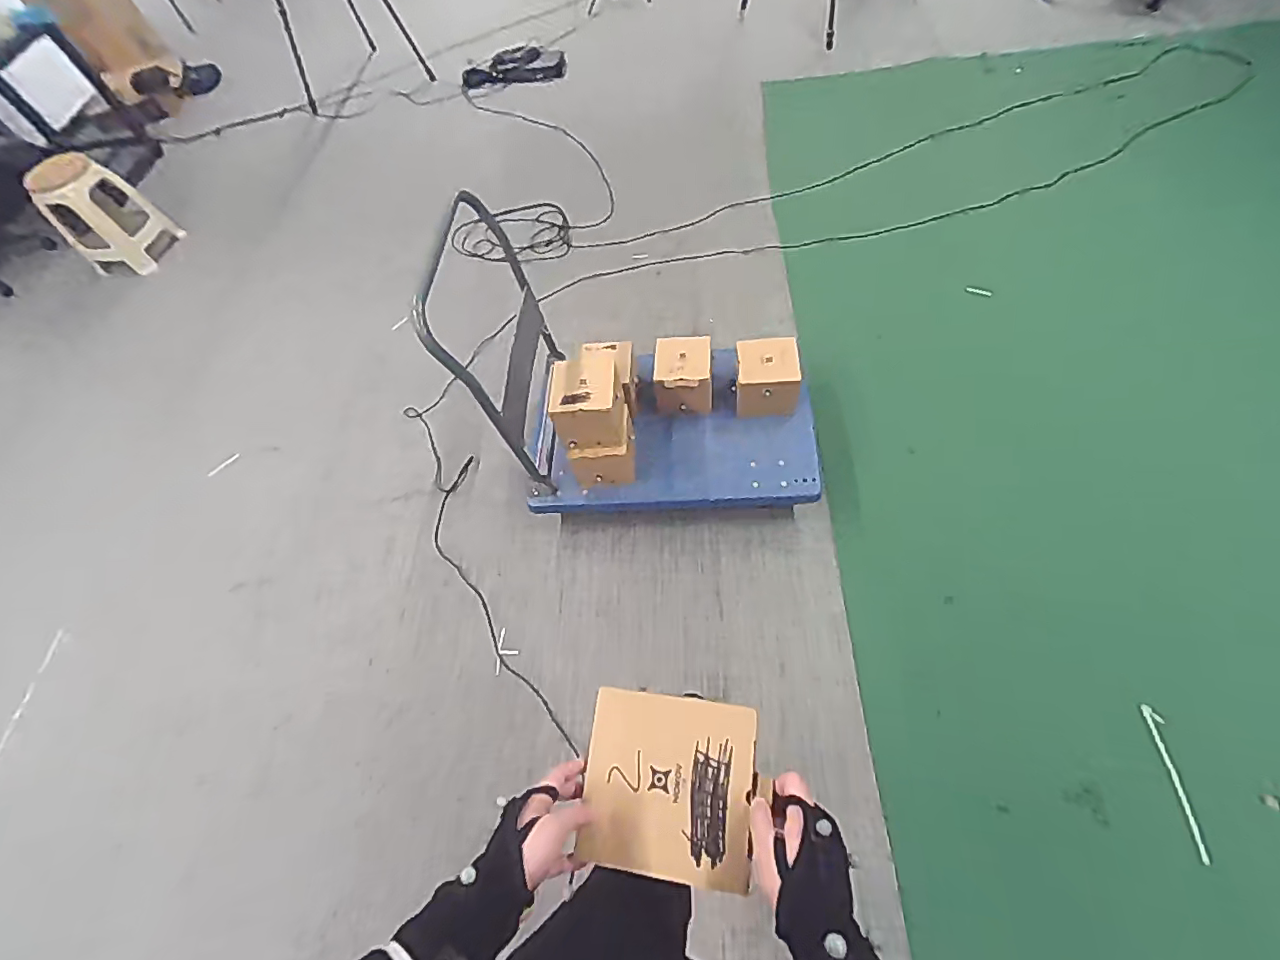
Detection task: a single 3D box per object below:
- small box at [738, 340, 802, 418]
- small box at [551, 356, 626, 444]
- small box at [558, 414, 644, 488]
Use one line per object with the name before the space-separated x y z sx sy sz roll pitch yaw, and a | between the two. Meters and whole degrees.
small box | 0.385 -0.299 1.626 0.179 0.176 0.168 -1 60 8
small box | -0.131 -0.208 1.454 0.168 0.176 0.179 -1 59 6
small box | -0.109 -0.101 1.589 0.179 0.176 0.168 26 68 22
